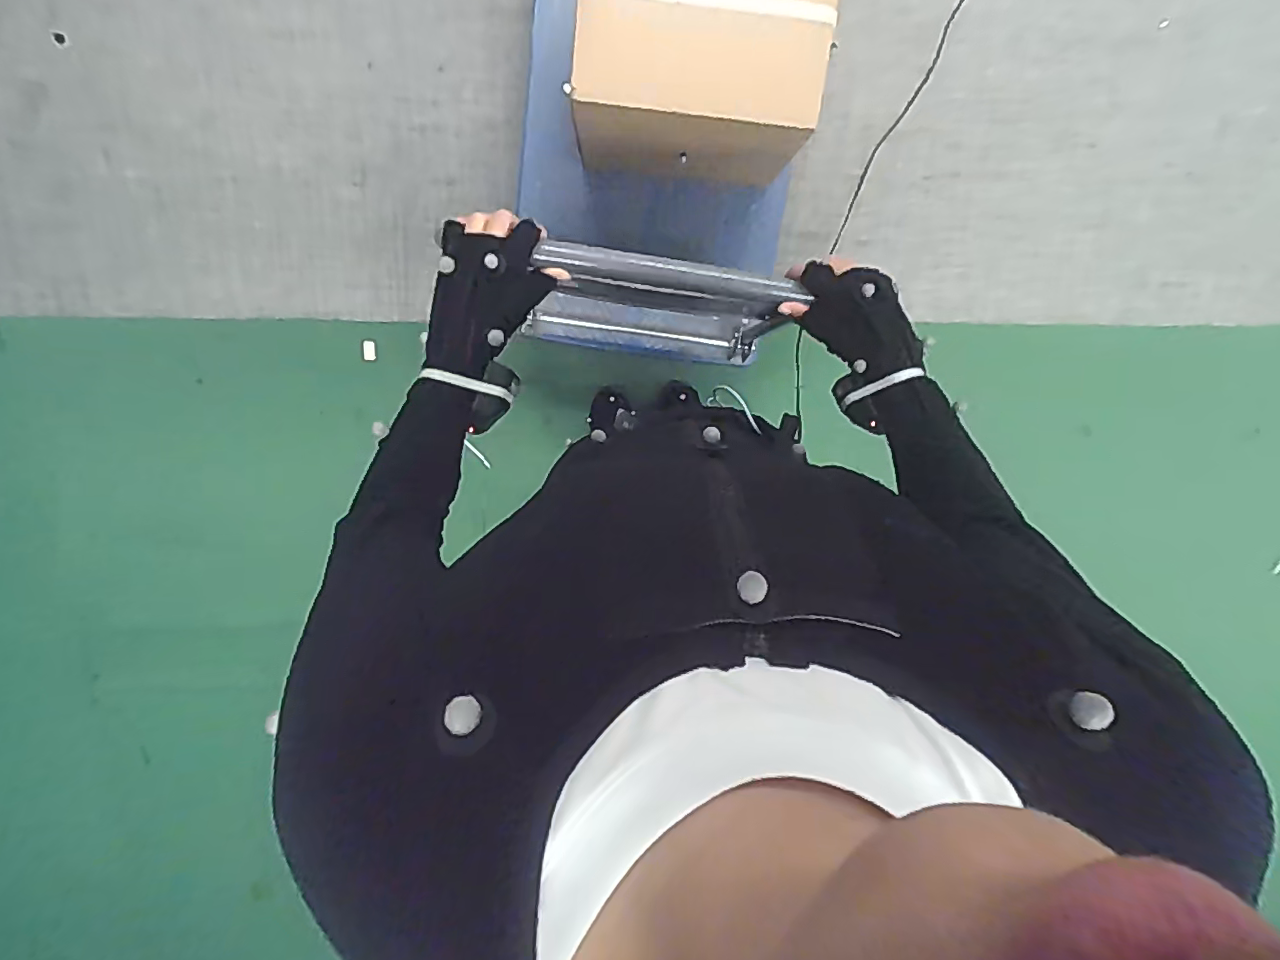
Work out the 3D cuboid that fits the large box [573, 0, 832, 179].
[{"bbox_3d":[0.100,-0.777,0.987,0.408,0.320,0.320,5,101,-3],"label":"large box"}]
